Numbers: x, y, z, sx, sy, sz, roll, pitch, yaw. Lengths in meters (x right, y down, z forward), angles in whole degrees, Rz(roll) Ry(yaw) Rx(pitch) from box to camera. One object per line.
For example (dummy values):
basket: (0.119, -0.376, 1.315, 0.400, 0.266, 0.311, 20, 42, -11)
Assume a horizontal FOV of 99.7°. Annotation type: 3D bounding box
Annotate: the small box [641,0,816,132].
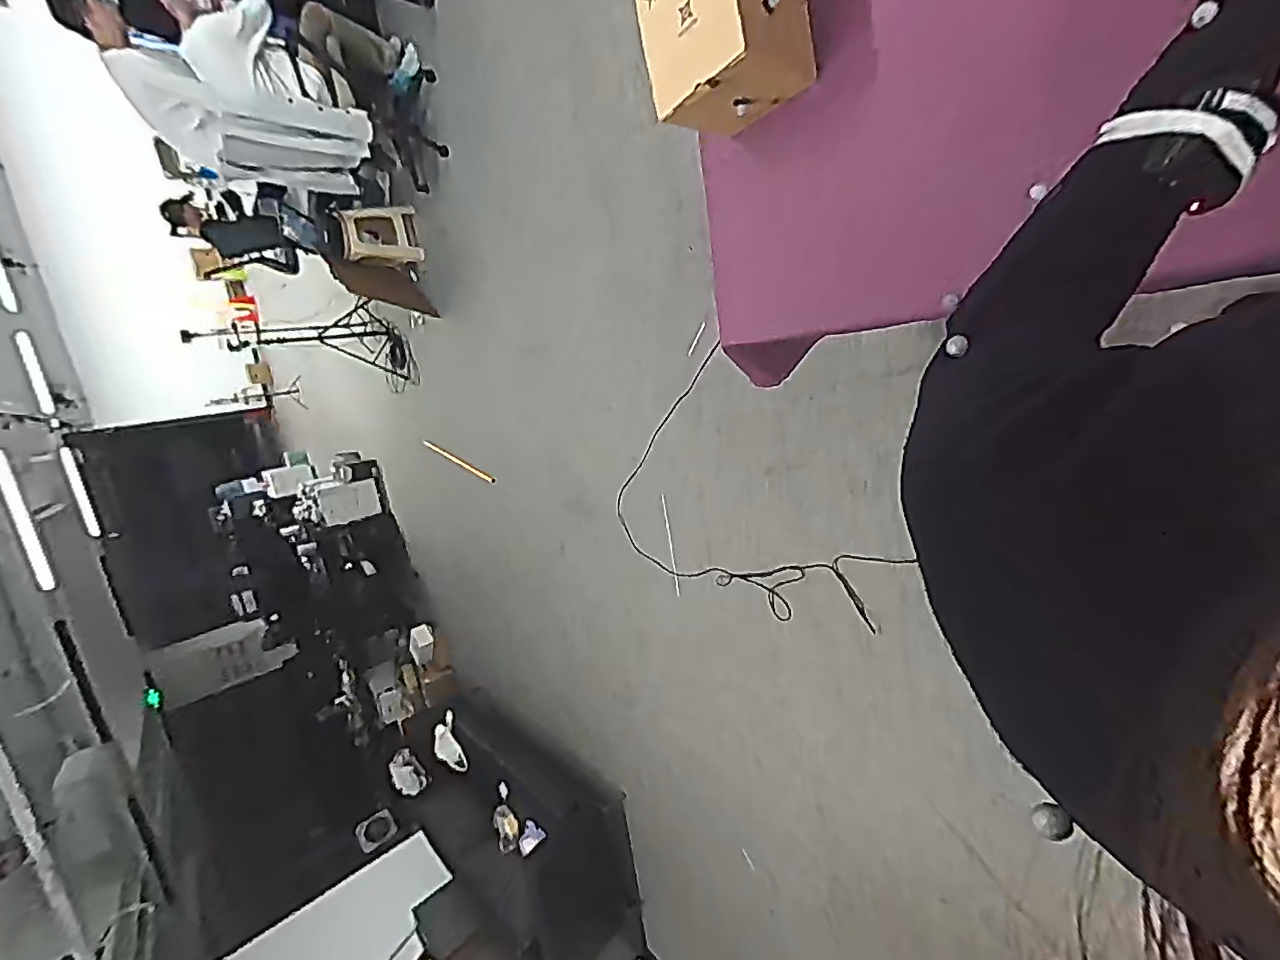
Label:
small box: (0.131, -0.626, 0.770, 0.168, 0.176, 0.179, -2, 104, 50)
